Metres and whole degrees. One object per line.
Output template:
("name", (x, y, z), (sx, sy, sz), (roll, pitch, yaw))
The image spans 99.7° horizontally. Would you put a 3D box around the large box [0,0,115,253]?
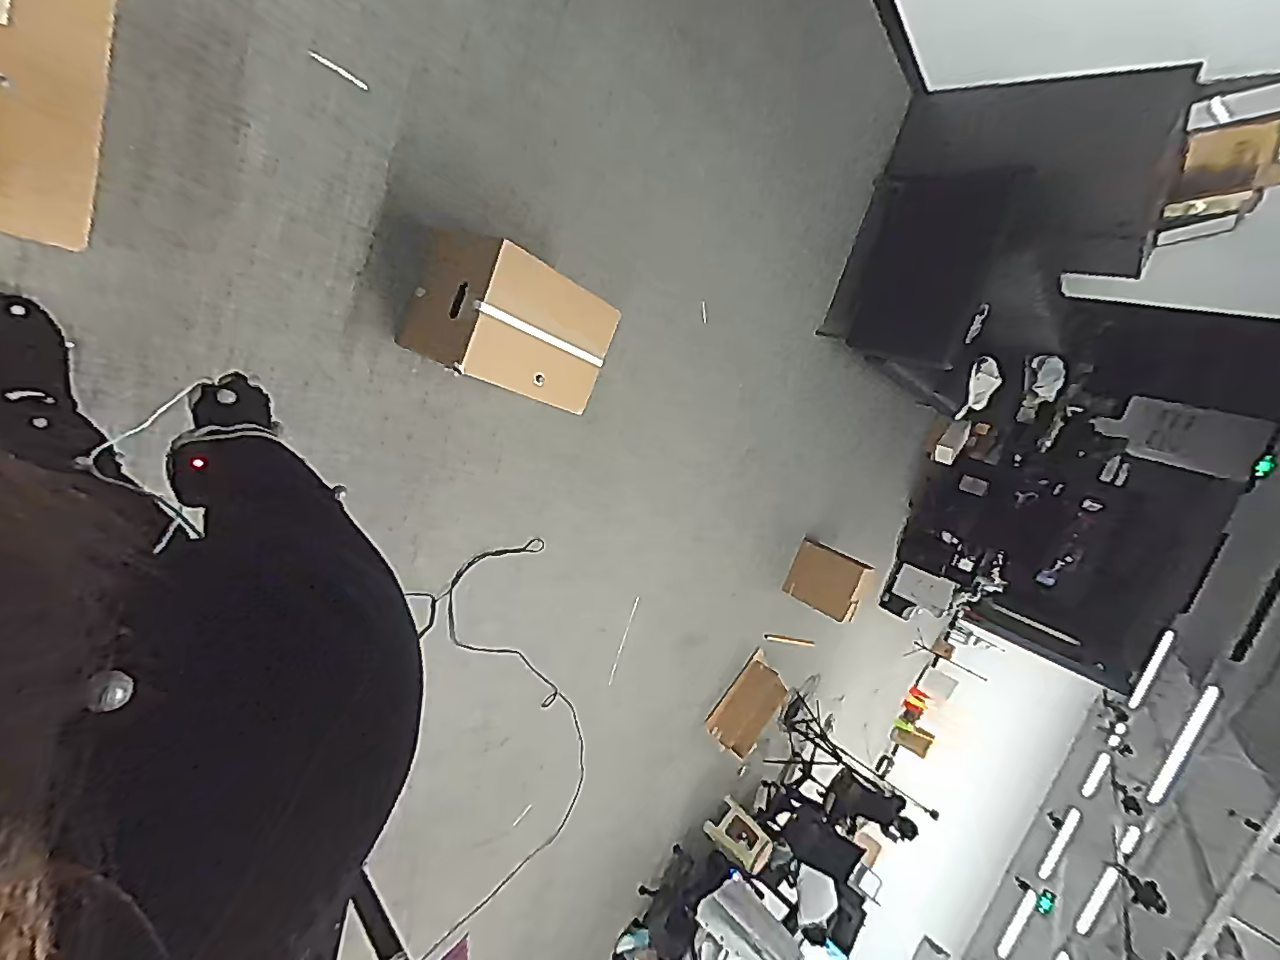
("large box", (-0.920, -0.554, 0.701), (0.320, 0.320, 0.408), (5, 105, -49))
